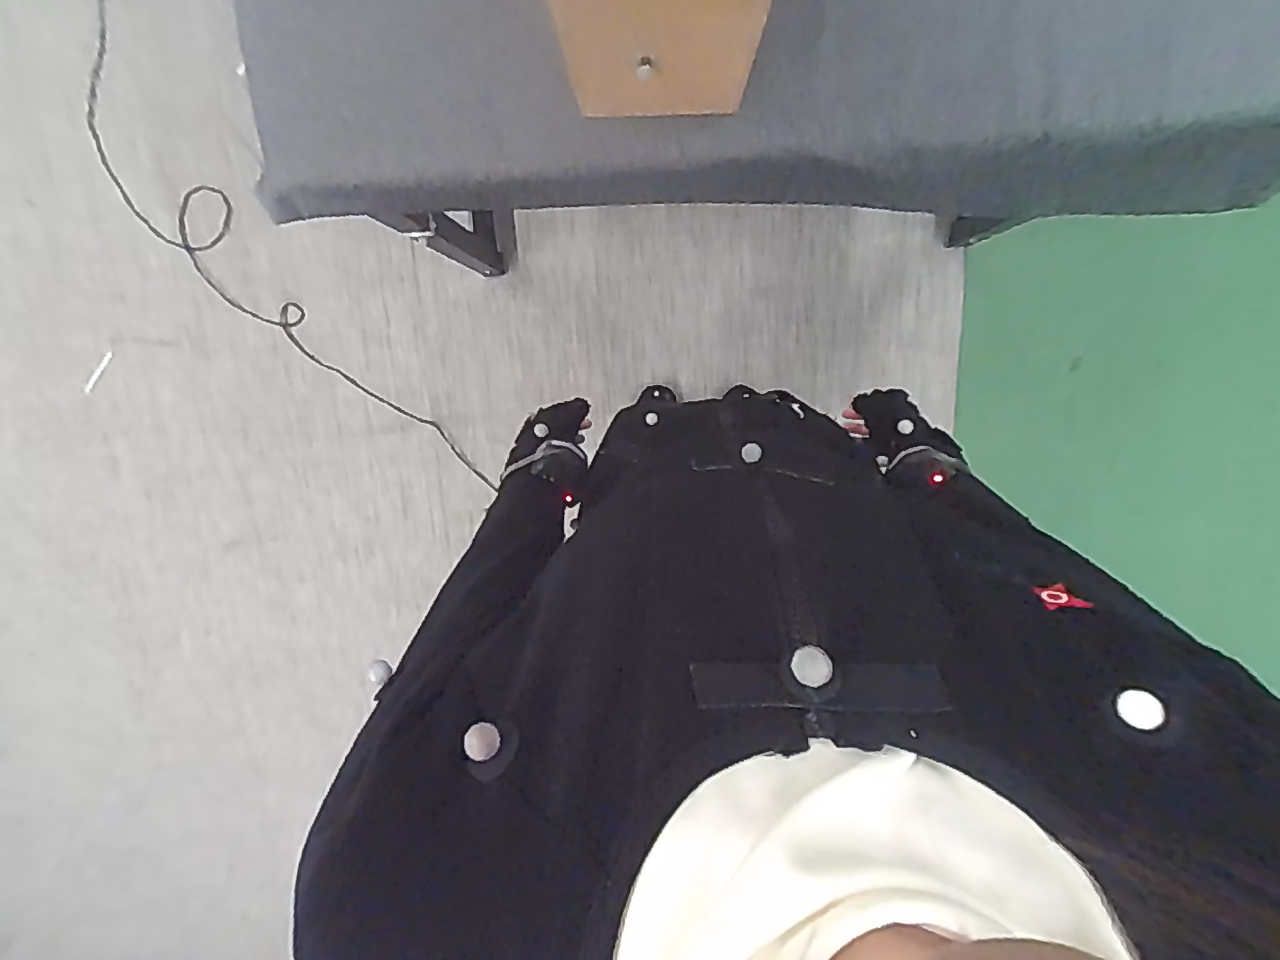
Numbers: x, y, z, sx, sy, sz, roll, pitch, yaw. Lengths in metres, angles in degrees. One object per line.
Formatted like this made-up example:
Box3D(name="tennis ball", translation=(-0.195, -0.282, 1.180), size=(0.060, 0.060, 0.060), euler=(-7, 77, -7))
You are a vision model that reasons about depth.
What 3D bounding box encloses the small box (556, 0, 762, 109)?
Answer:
Box3D(name="small box", translation=(0.020, -0.484, 0.518), size=(0.179, 0.176, 0.168), euler=(0, 100, 2))
